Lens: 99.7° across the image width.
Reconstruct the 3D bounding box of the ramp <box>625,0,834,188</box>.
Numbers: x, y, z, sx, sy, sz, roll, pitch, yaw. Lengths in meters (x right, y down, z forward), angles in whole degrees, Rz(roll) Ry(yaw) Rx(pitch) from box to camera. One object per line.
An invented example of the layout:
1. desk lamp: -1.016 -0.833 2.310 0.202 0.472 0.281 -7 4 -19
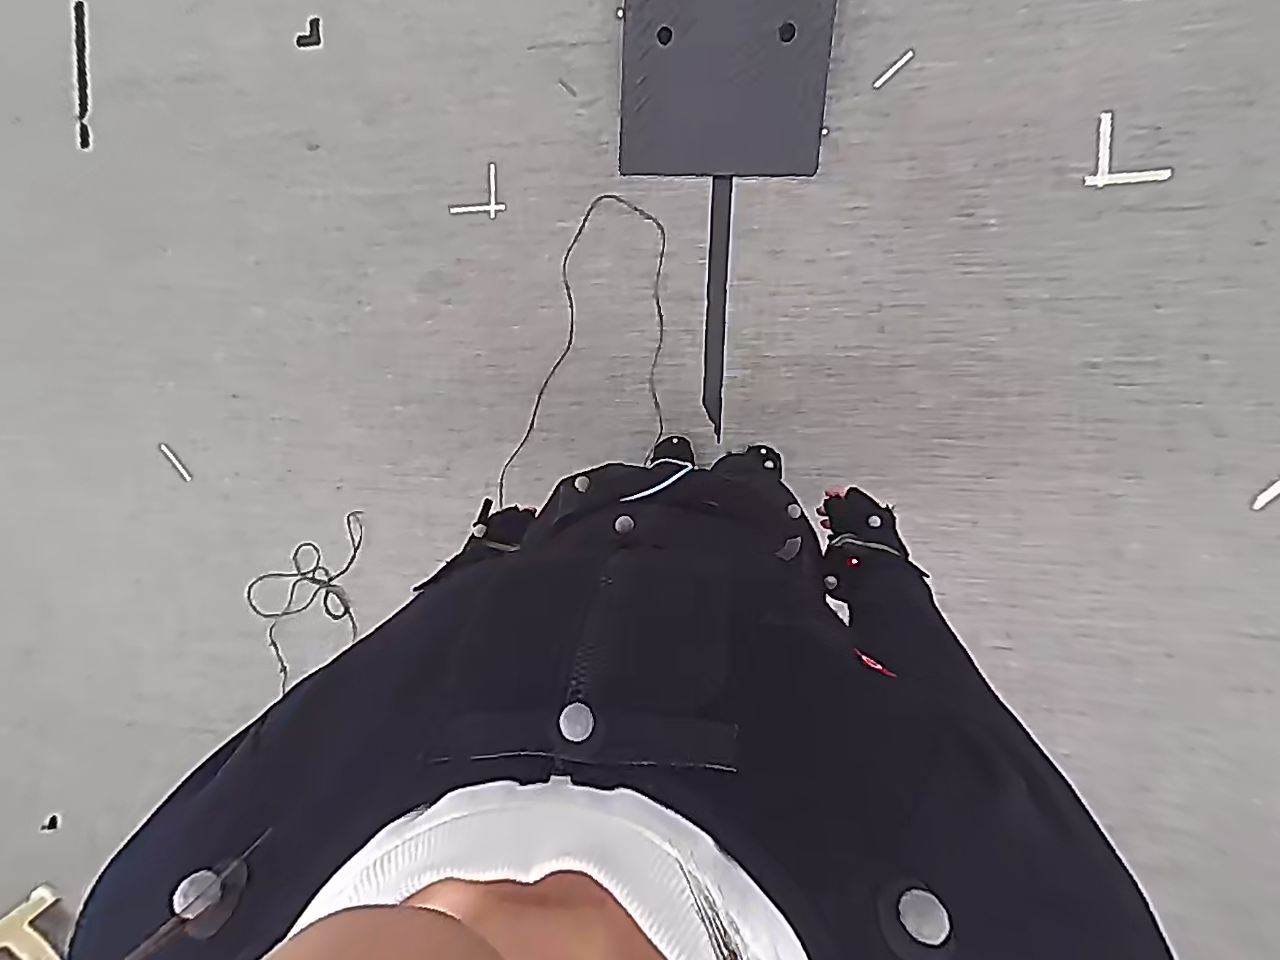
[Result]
1. ramp: 0.208 -1.231 1.249 0.509 0.206 0.991 1 95 8
